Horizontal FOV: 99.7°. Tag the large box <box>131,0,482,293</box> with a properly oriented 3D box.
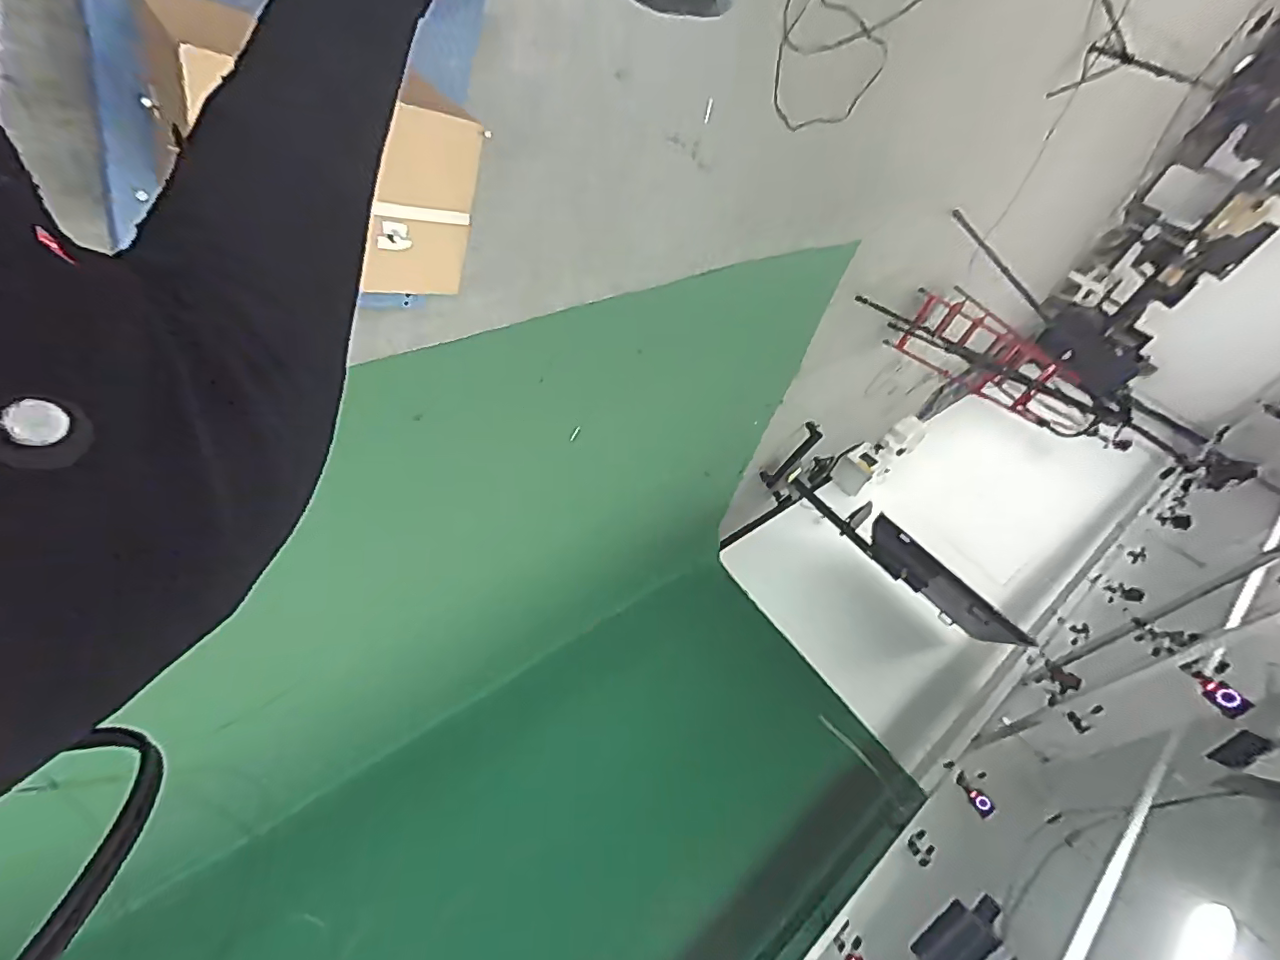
[{"bbox_3d":[-0.546,-0.539,0.929,0.408,0.320,0.320,-17,145,-42],"label":"large box"}]
